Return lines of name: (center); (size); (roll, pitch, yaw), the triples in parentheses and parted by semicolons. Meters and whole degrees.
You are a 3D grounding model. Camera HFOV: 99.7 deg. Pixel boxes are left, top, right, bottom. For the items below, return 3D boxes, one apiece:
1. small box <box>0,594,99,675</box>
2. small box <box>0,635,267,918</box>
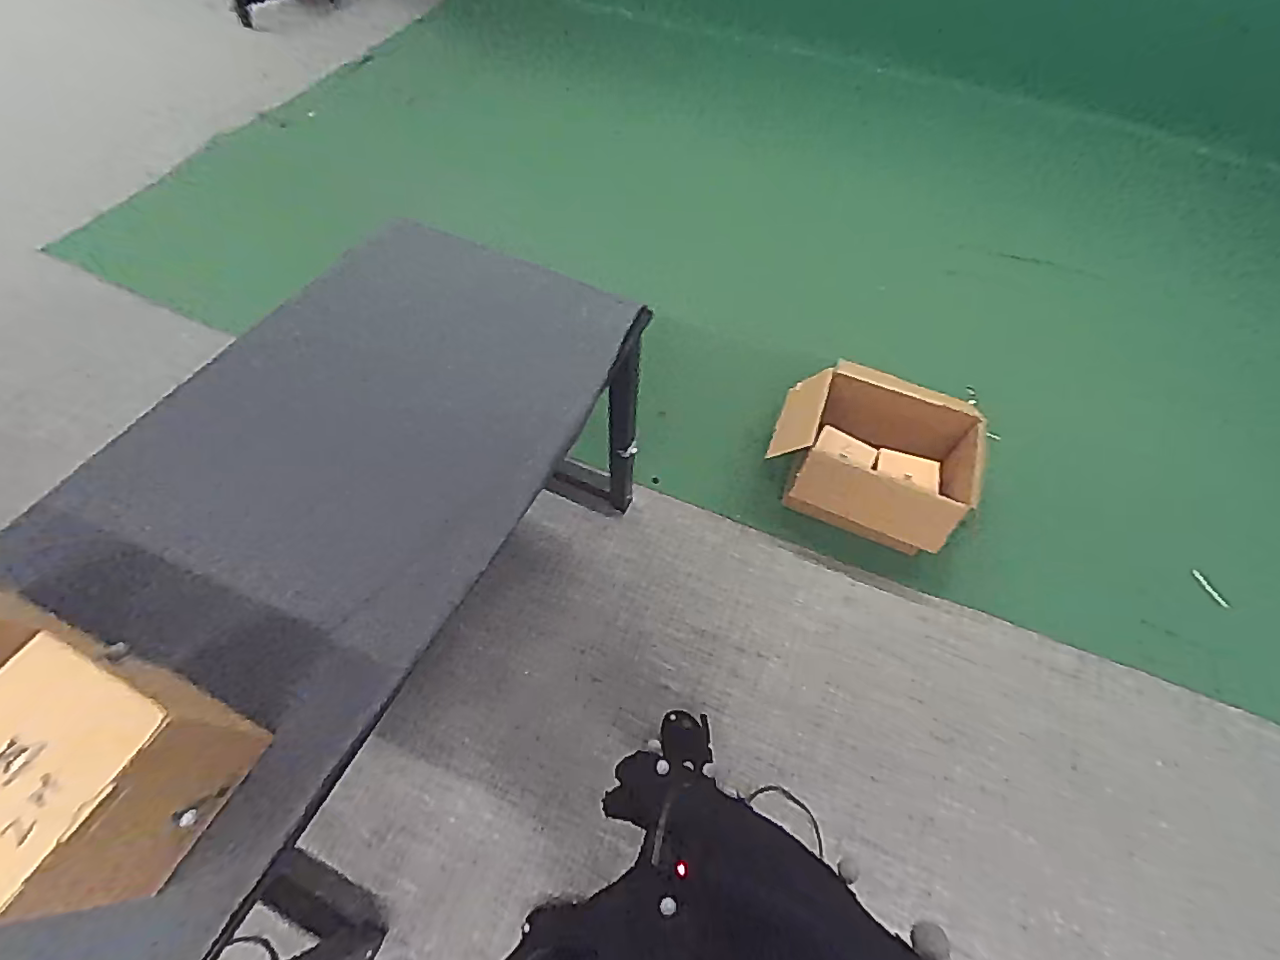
small box: (-0.747, 0.202, 0.563); (0.179, 0.176, 0.168); (22, 61, 10)
small box: (-0.527, 0.282, 0.526); (0.179, 0.176, 0.168); (23, 61, 12)
